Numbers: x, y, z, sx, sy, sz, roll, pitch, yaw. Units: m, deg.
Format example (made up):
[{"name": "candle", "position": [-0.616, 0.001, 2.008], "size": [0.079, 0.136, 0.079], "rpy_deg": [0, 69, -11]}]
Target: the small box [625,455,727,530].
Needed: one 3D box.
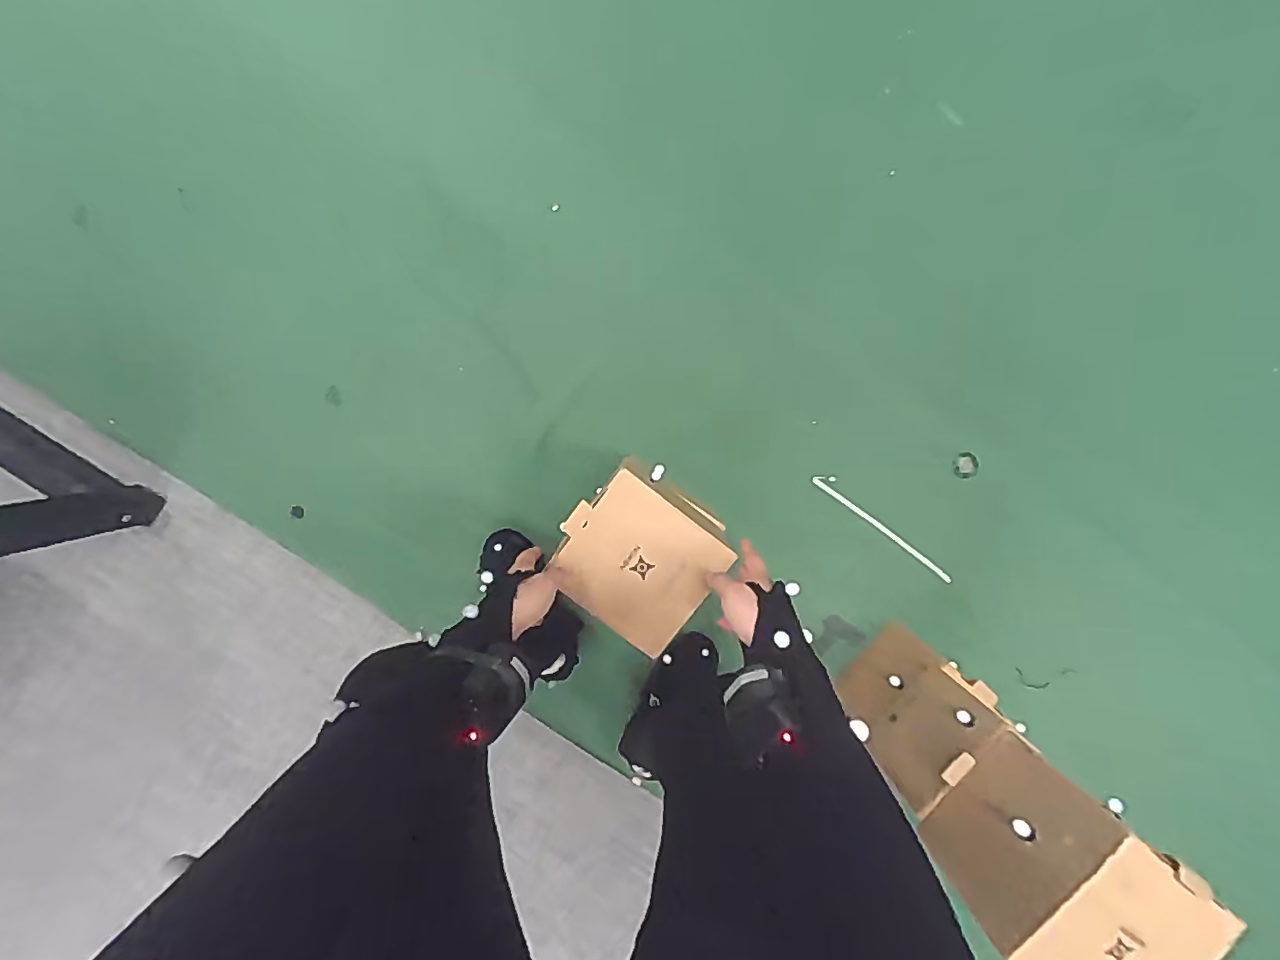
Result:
[{"name": "small box", "position": [0.012, 0.072, 0.876], "size": [0.179, 0.176, 0.168], "rpy_deg": [35, 97, -5]}]

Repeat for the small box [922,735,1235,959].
[{"name": "small box", "position": [0.462, 0.430, 0.602], "size": [0.168, 0.176, 0.179], "rpy_deg": [39, 95, -7]}]

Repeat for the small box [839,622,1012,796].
[{"name": "small box", "position": [0.469, 0.381, 0.927], "size": [0.168, 0.176, 0.179], "rpy_deg": [43, 95, -6]}]

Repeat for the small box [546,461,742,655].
[{"name": "small box", "position": [0.003, 0.088, 0.715], "size": [0.179, 0.176, 0.168], "rpy_deg": [37, 97, -6]}]
